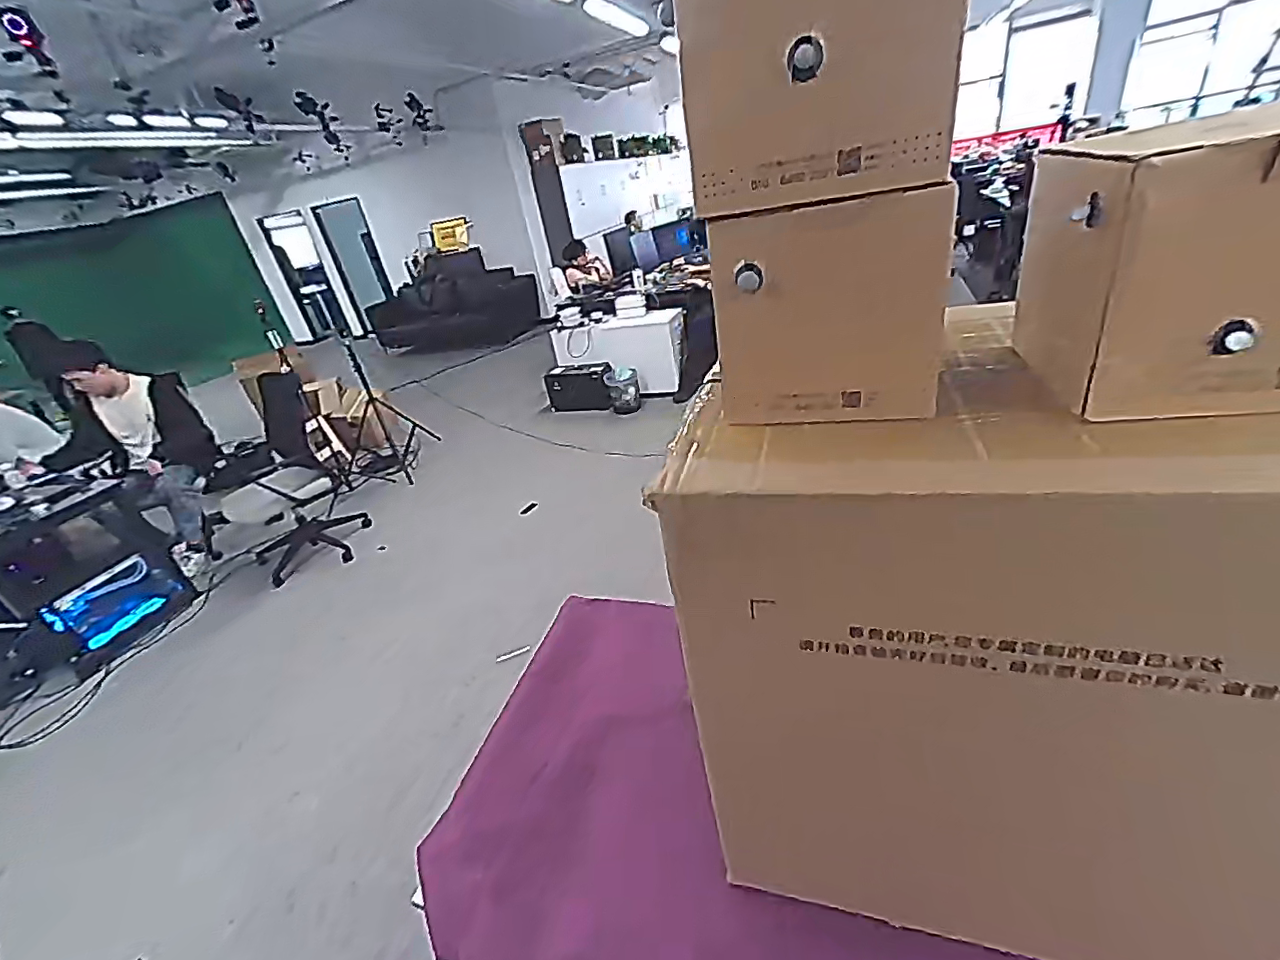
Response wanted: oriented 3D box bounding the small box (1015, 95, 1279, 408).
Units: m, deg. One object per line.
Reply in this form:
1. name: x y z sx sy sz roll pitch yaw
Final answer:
1. small box: 0.394 -0.163 0.385 0.168 0.176 0.179 -2 31 19

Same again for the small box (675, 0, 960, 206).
1. small box: 0.124 -0.306 0.395 0.168 0.176 0.179 -1 30 16
